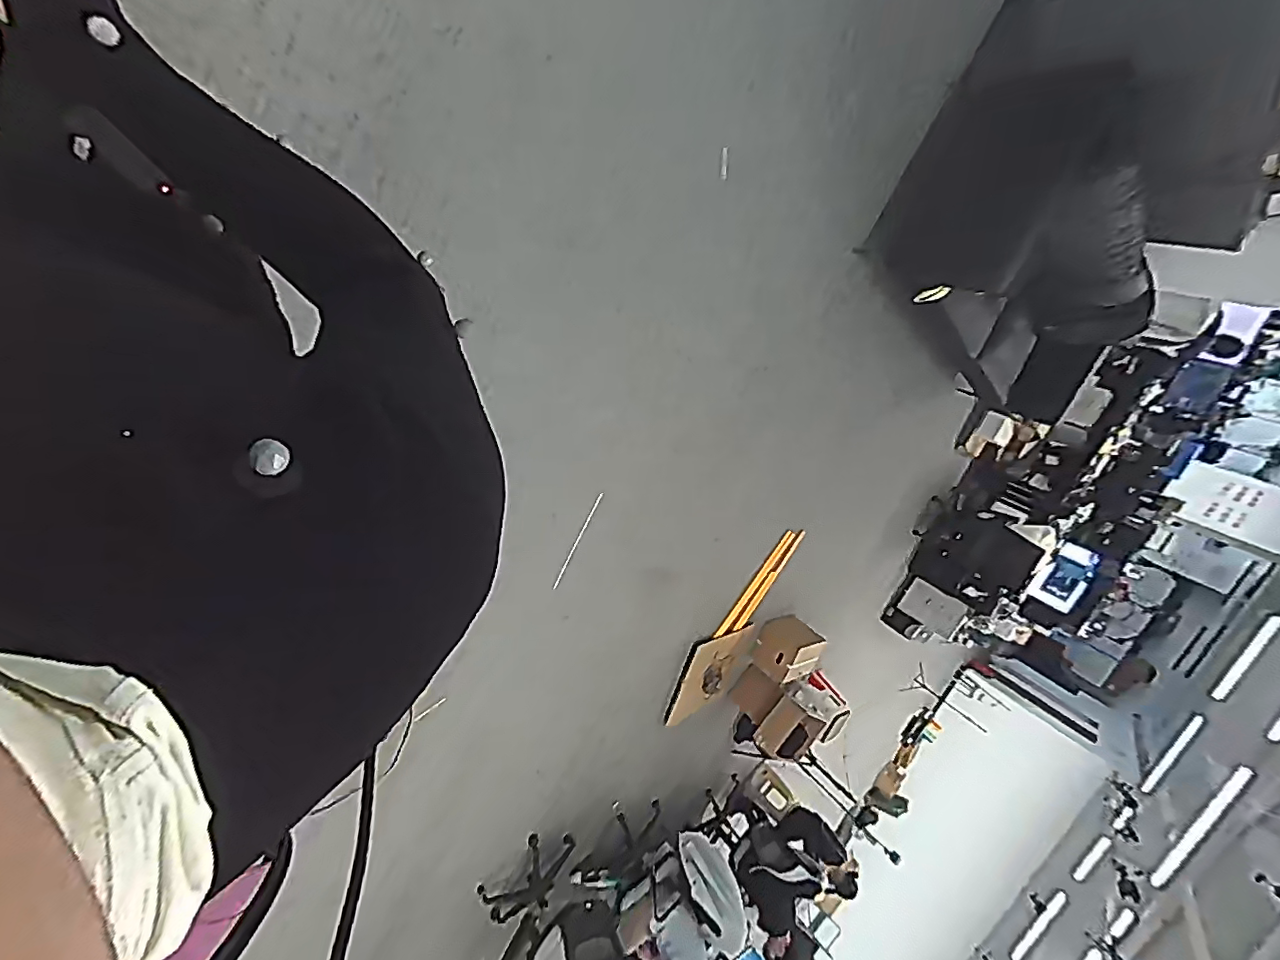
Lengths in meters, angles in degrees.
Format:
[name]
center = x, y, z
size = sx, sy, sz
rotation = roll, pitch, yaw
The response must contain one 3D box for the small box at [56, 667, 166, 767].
[small box]
center = -1.388, 0.614, 1.425
size = 0.179, 0.176, 0.168
rotation = 16, 105, -46
